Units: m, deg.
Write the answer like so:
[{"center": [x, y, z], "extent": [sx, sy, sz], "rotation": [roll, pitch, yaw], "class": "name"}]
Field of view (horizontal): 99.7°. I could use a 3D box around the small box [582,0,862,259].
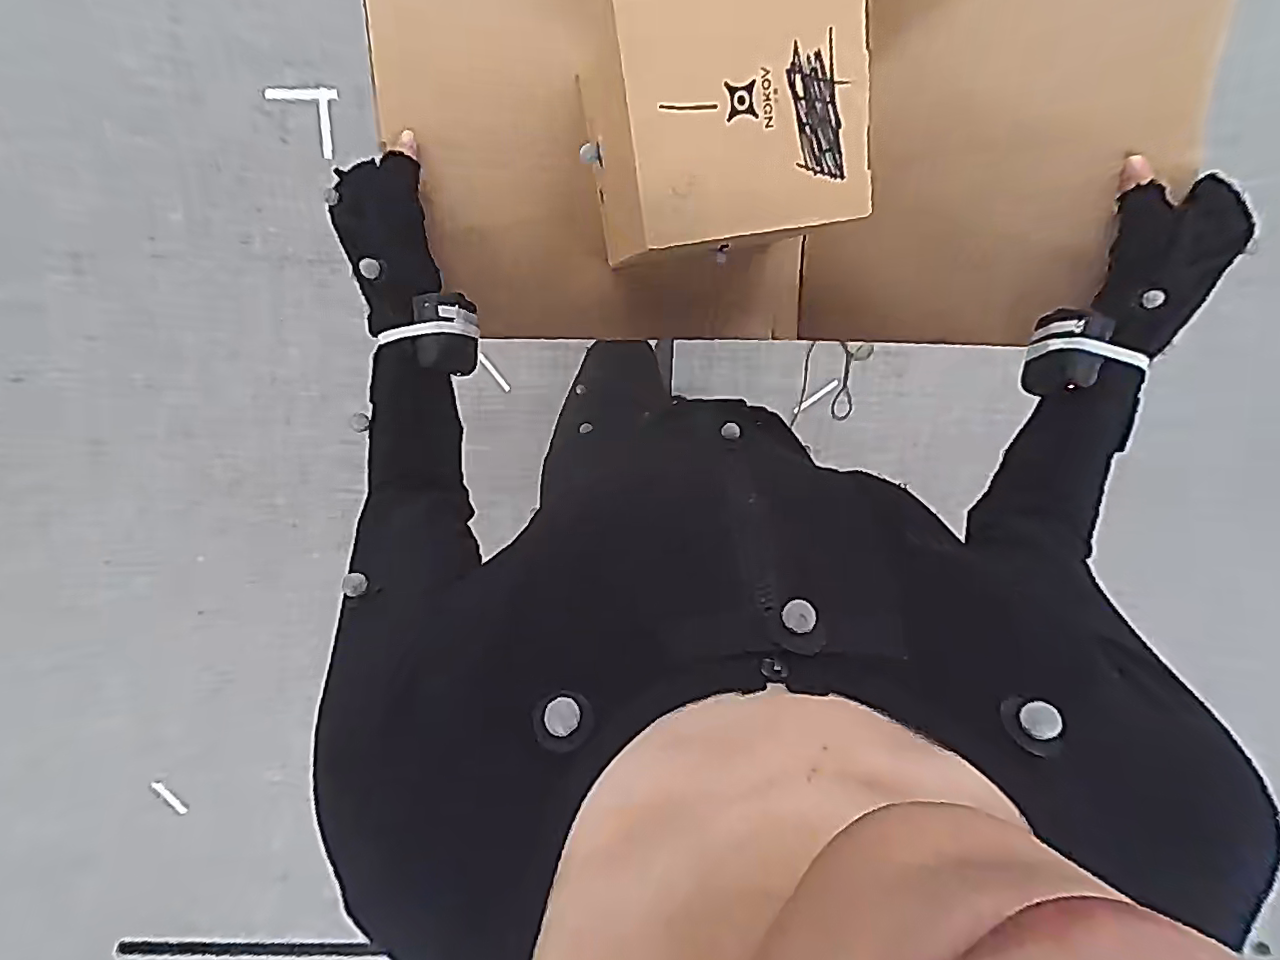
[{"center": [0.058, -0.287, 0.448], "extent": [0.179, 0.176, 0.168], "rotation": [-12, 109, -8], "class": "small box"}]
